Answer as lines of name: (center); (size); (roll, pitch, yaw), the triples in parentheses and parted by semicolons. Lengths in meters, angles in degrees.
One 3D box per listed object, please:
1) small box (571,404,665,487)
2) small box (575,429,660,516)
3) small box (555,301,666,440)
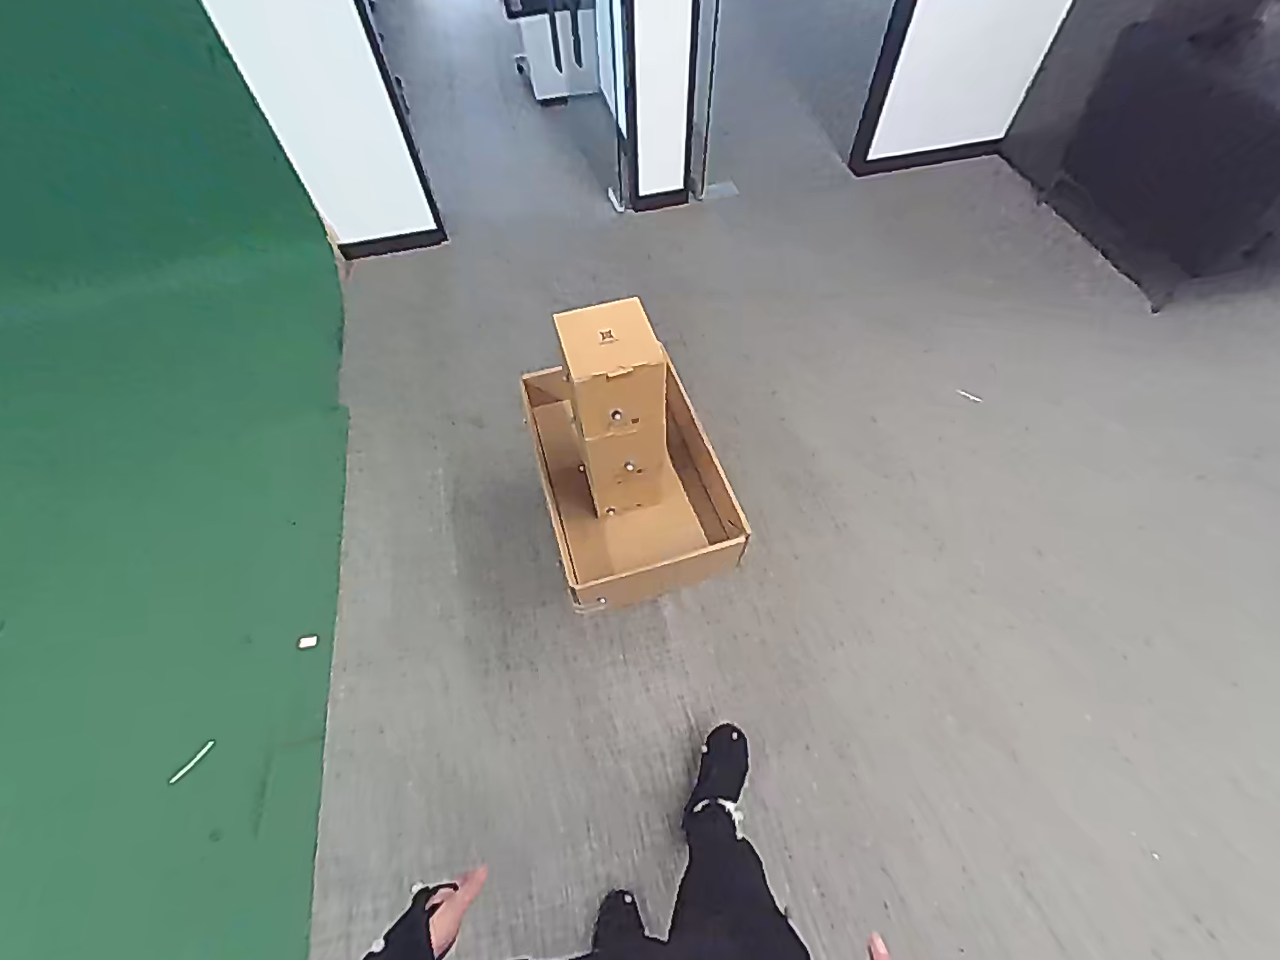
small box: (-0.050, -0.112, 1.154); (0.168, 0.176, 0.179); (-15, 58, -7)
small box: (-0.050, -0.031, 1.298); (0.168, 0.176, 0.179); (-14, 57, -8)
small box: (-0.056, -0.204, 1.020); (0.168, 0.176, 0.179); (-15, 58, -9)
